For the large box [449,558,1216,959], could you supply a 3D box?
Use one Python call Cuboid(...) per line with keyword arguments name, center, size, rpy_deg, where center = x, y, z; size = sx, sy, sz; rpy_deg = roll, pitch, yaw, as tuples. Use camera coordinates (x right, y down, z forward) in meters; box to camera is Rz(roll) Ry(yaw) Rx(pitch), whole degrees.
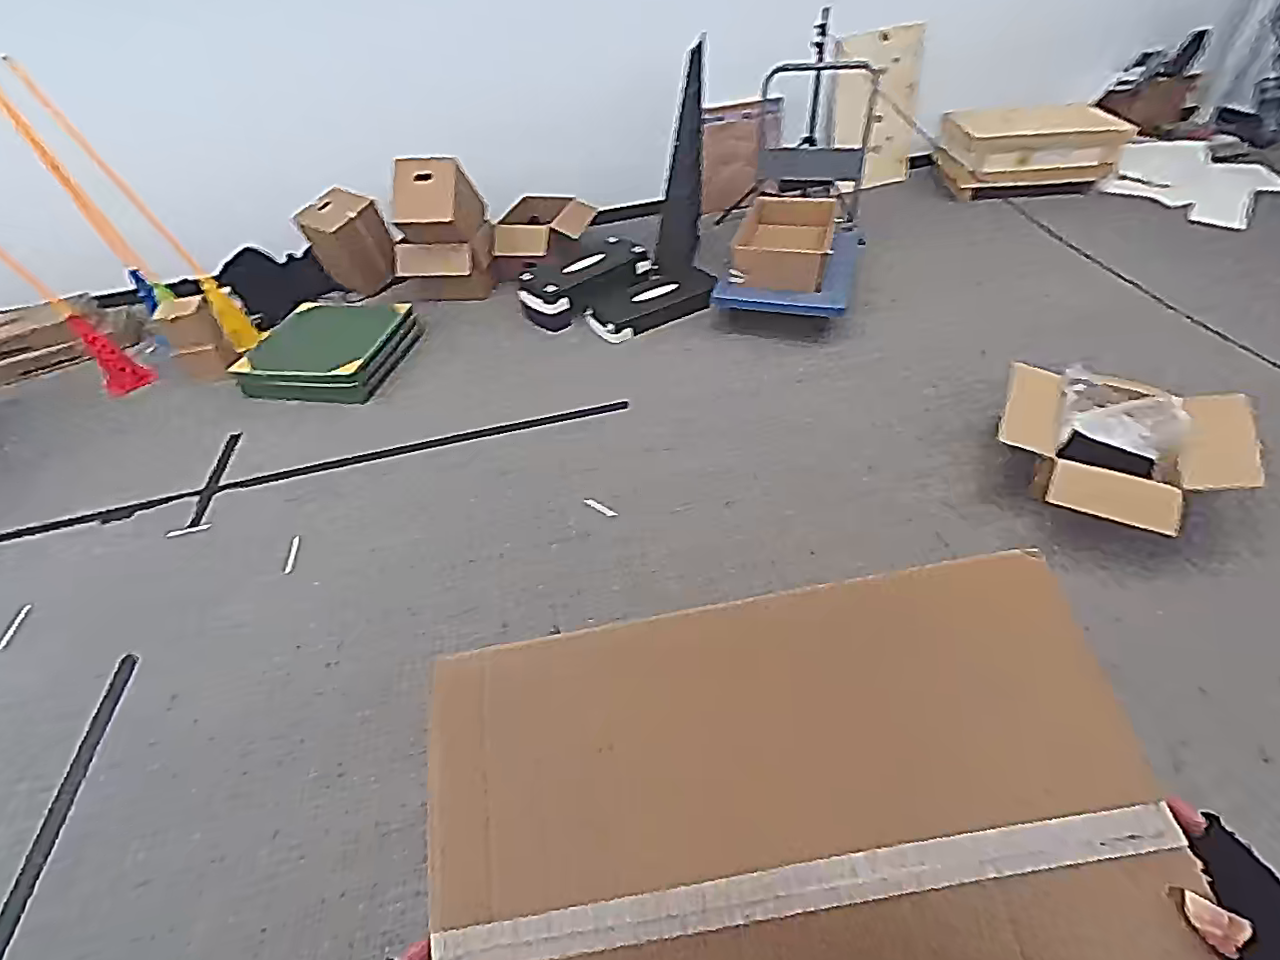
Cuboid(name="large box", center=(0.102, 0.287, 0.441), size=(0.408, 0.320, 0.320), rpy_deg=(-11, 67, 1))
